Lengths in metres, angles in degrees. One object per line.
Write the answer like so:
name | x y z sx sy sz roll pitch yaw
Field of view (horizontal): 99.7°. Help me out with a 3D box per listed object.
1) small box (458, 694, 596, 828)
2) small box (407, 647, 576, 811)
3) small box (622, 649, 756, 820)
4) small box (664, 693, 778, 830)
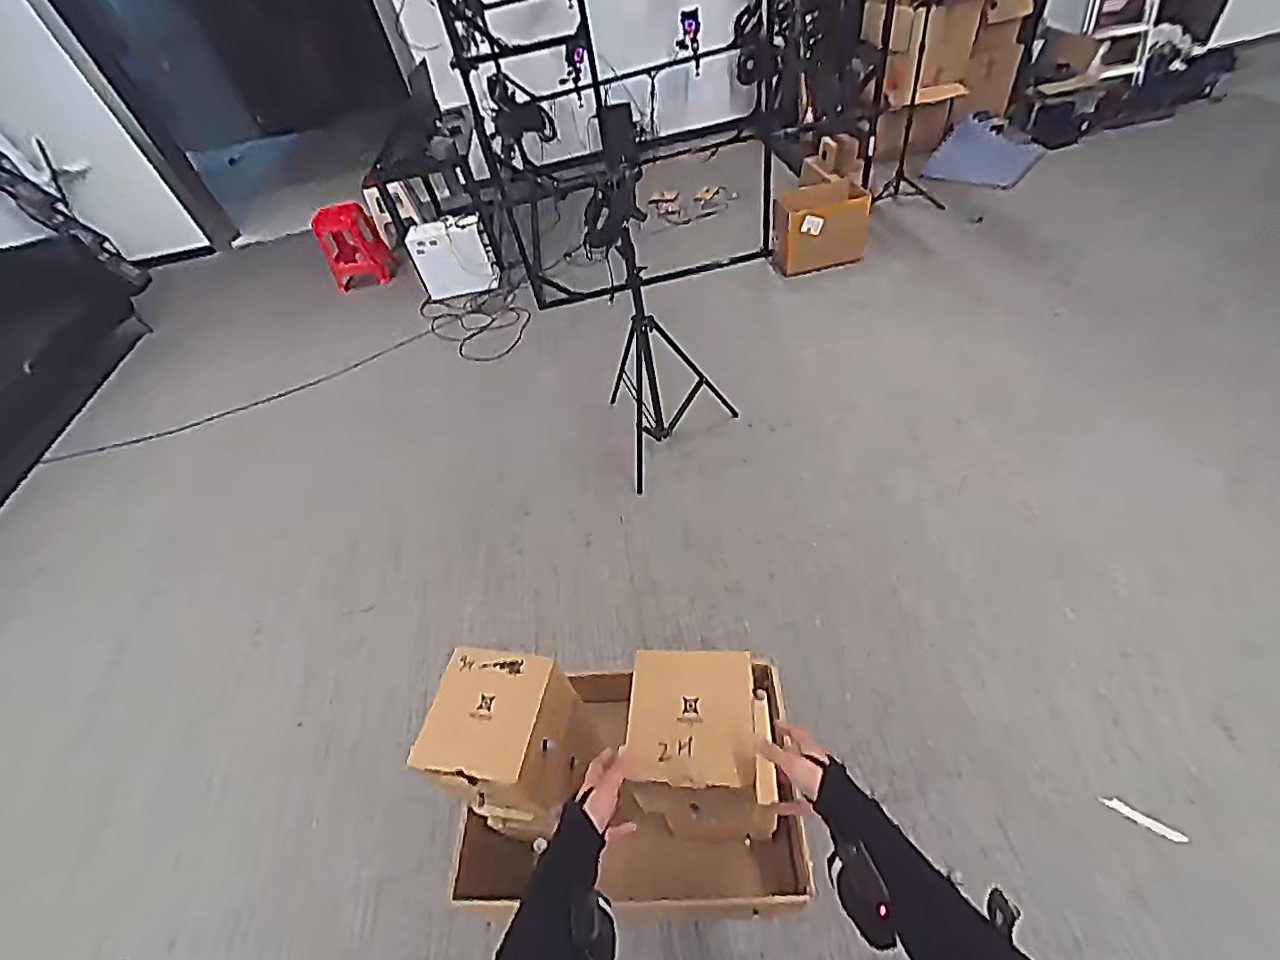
small box | -0.184 0.486 0.943 0.168 0.176 0.179 -1 47 12
small box | -0.208 0.379 0.820 0.168 0.176 0.179 2 49 14
small box | 0.079 0.363 0.775 0.168 0.176 0.179 -3 47 12
small box | 0.129 0.466 0.895 0.179 0.176 0.168 -5 46 9
